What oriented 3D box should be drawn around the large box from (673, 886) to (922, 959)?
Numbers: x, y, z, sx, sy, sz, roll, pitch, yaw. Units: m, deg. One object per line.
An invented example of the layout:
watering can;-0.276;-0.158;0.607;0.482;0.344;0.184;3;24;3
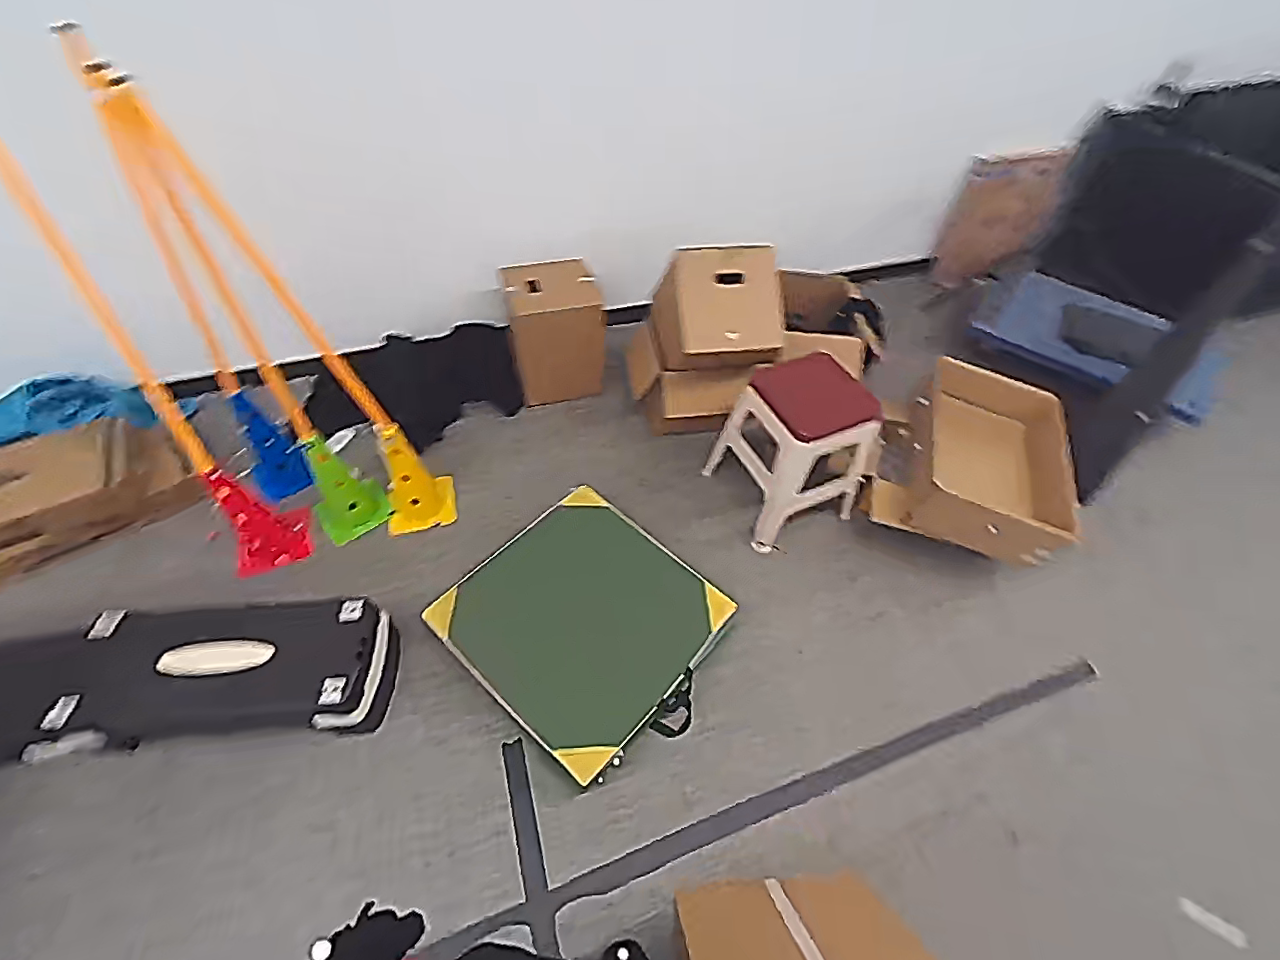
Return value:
large box;0.224;0.770;0.639;0.320;0.408;0.320;-1;81;-5
